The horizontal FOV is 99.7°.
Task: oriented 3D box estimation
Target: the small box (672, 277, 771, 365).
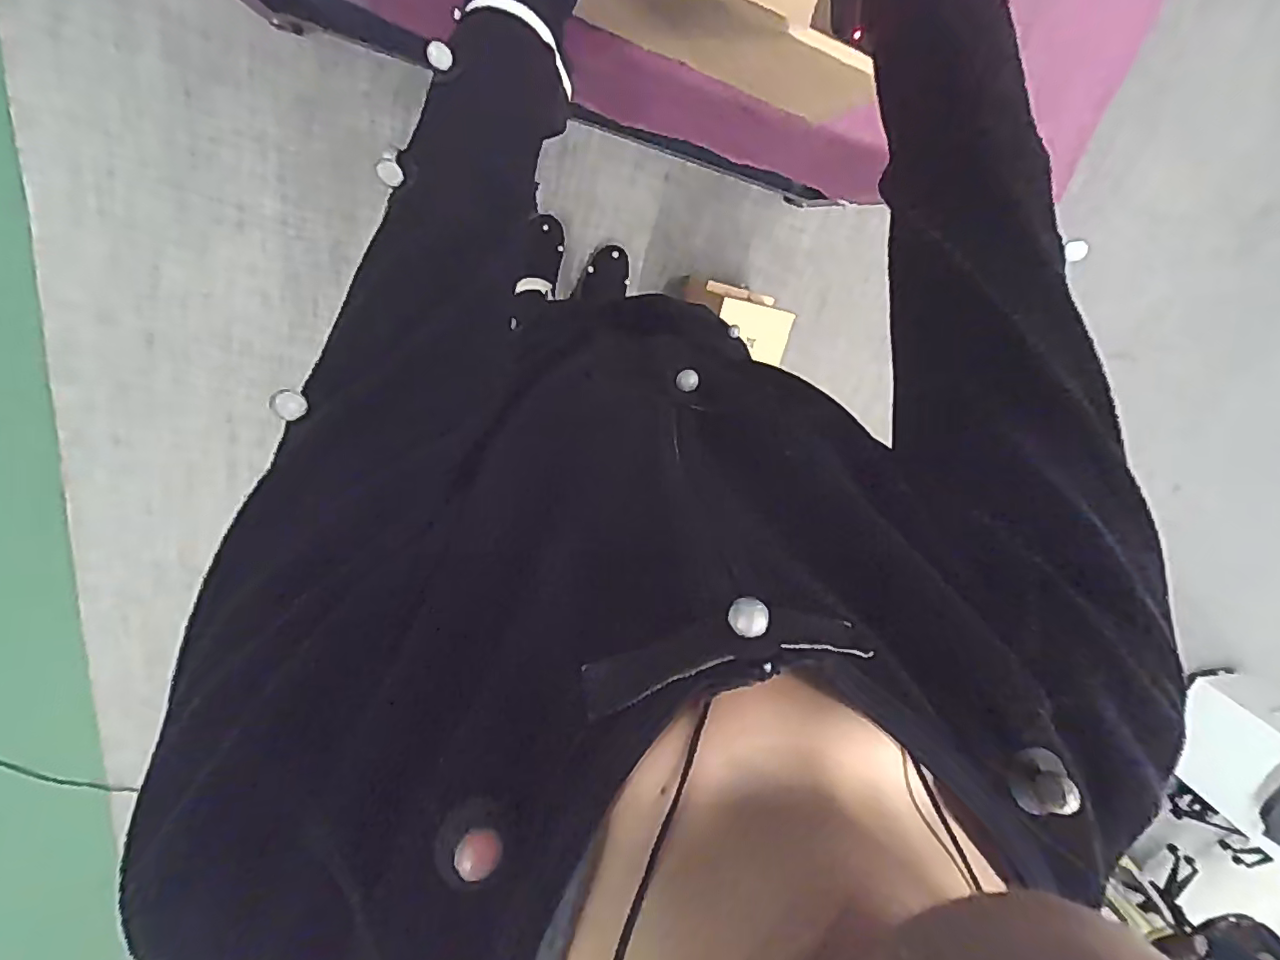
[{"bbox_3d":[0.198,-0.407,1.365,0.179,0.176,0.168,9,113,-15],"label":"small box"}]
